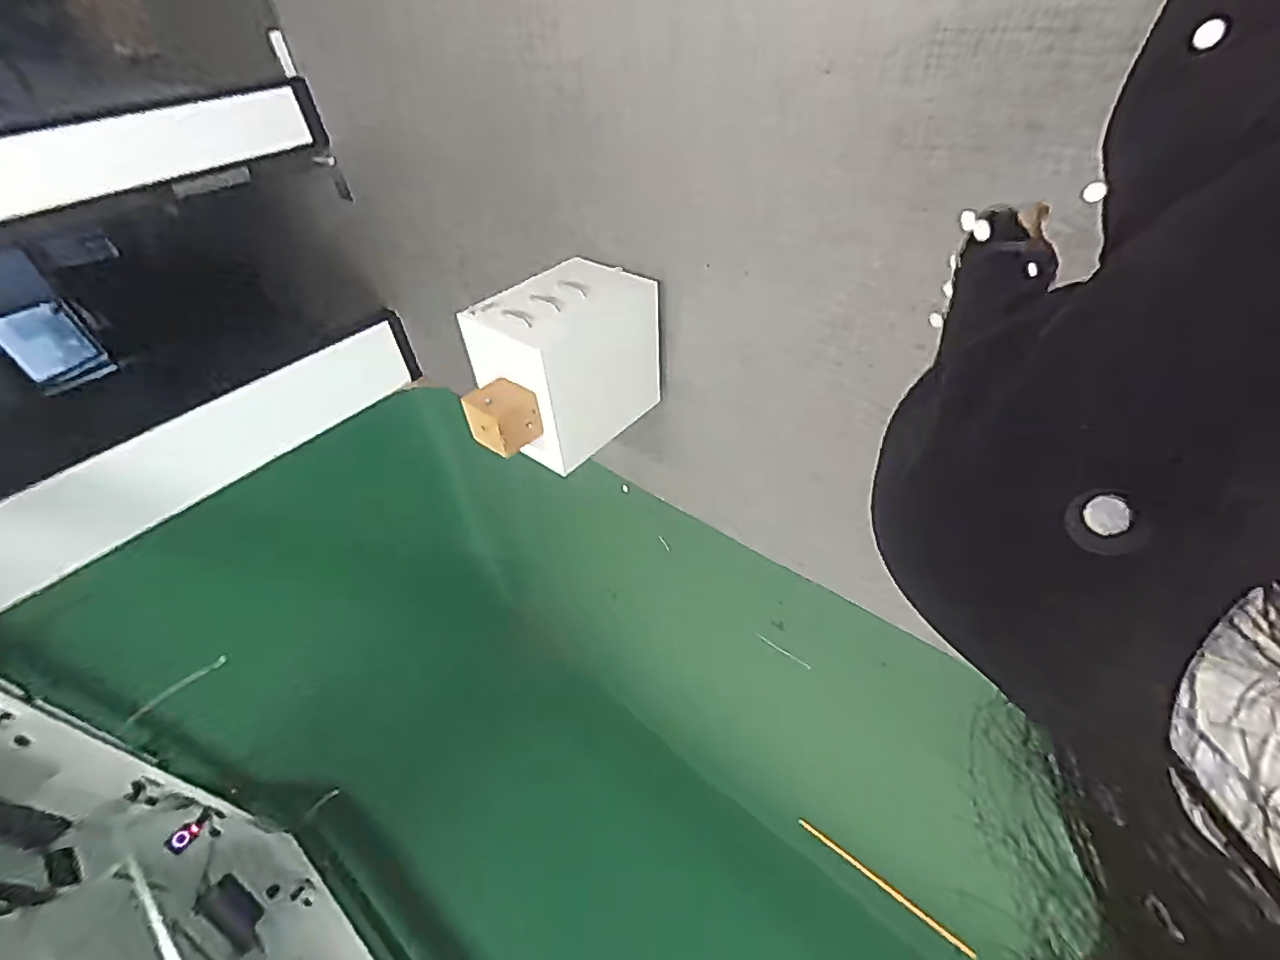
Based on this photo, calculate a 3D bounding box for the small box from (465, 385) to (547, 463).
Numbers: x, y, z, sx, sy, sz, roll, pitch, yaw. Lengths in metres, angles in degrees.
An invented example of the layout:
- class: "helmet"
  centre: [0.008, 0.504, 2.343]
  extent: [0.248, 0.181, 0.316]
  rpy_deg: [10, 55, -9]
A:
- class: "small box"
  centre: [-0.430, -0.188, 1.755]
  extent: [0.179, 0.176, 0.168]
  rpy_deg: [27, 142, 30]
